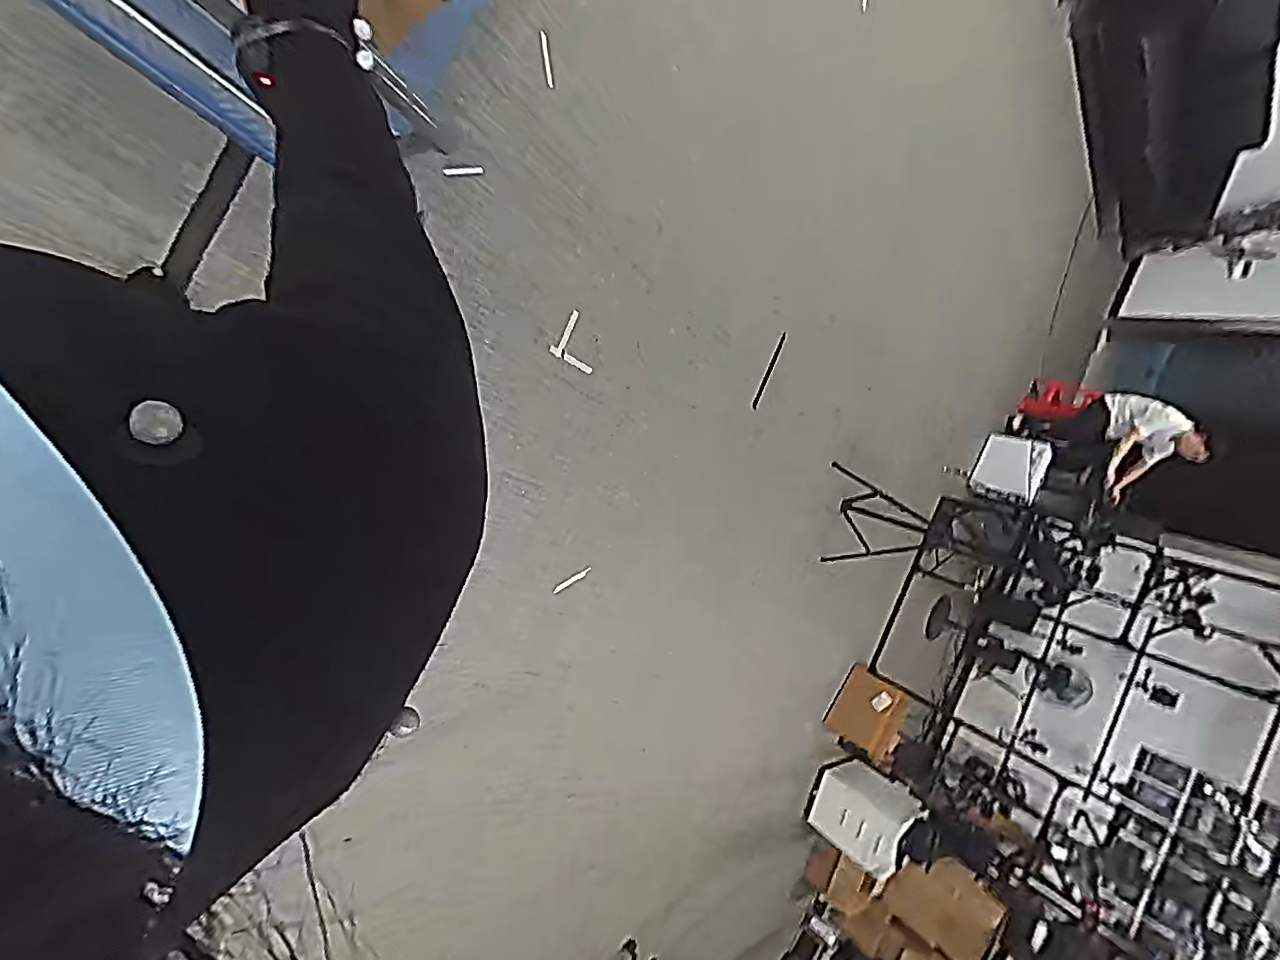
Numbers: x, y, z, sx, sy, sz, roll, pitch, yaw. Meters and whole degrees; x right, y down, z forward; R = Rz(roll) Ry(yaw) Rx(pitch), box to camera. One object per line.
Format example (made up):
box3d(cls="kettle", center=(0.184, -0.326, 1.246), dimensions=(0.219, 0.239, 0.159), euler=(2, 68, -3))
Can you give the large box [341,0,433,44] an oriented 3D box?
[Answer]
box3d(cls="large box", center=(-0.458, -1.025, 0.841), dimensions=(0.408, 0.320, 0.320), euler=(33, 82, -42))
